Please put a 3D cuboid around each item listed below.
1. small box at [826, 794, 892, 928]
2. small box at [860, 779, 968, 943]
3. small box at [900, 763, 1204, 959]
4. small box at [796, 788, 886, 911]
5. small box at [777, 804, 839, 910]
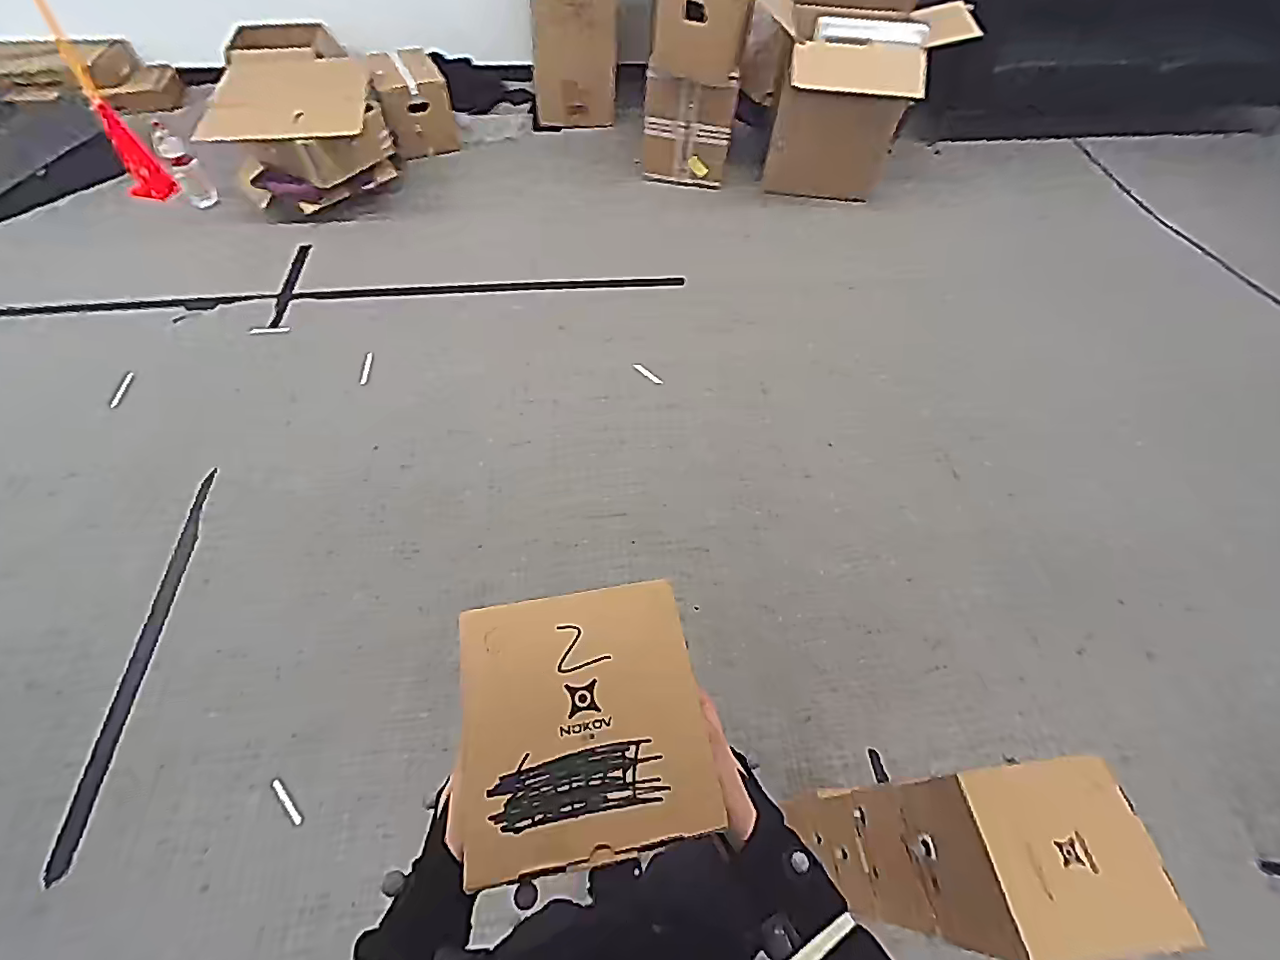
[{"bbox_3d":[0.418,0.608,0.878,0.179,0.176,0.168,-3,56,-3],"label":"small box"},{"bbox_3d":[0.425,0.515,0.743,0.179,0.176,0.168,-3,56,-5],"label":"small box"},{"bbox_3d":[0.432,0.427,0.607,0.179,0.176,0.168,-5,56,-5],"label":"small box"},{"bbox_3d":[0.408,0.691,1.018,0.168,0.176,0.179,-2,56,-3],"label":"small box"},{"bbox_3d":[0.406,0.788,1.151,0.168,0.176,0.179,-4,57,-5],"label":"small box"}]
